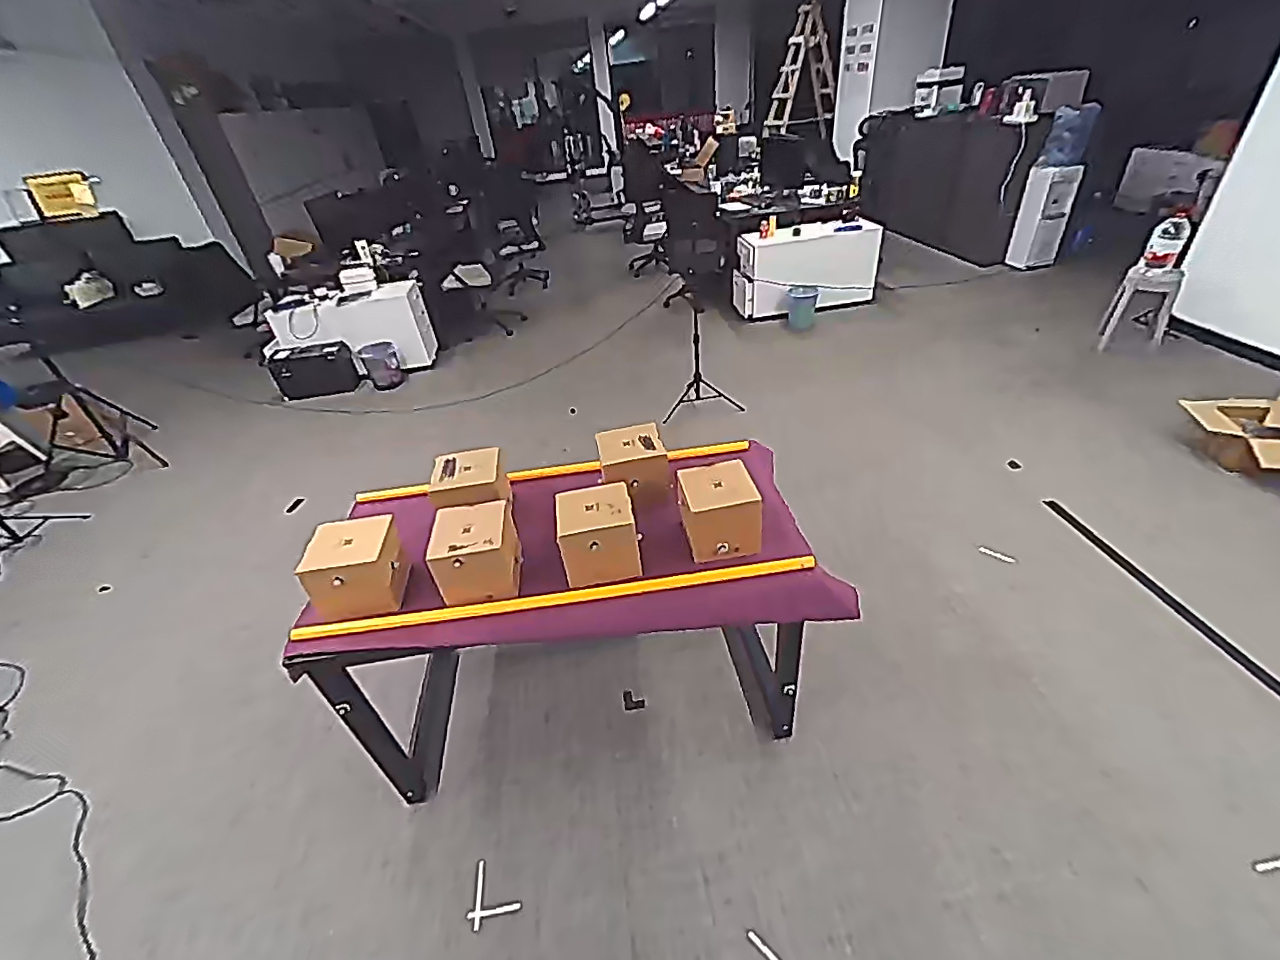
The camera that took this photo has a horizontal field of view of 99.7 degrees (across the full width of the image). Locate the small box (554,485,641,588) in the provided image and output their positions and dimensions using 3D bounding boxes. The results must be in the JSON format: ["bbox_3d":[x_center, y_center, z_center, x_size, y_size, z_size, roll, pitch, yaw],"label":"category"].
[{"bbox_3d":[-0.101,0.138,1.289,0.179,0.176,0.168,-10,34,-4],"label":"small box"}]

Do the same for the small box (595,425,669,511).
[{"bbox_3d":[-0.020,-0.028,1.503,0.179,0.176,0.168,-11,37,-4],"label":"small box"}]

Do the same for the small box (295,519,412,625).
[{"bbox_3d":[-0.661,0.218,1.279,0.179,0.176,0.168,-9,35,-3],"label":"small box"}]

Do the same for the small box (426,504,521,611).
[{"bbox_3d":[-0.384,0.182,1.281,0.168,0.176,0.179,-10,36,-2],"label":"small box"}]

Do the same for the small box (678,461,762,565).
[{"bbox_3d":[0.191,0.079,1.316,0.168,0.176,0.179,-11,34,-2],"label":"small box"}]
